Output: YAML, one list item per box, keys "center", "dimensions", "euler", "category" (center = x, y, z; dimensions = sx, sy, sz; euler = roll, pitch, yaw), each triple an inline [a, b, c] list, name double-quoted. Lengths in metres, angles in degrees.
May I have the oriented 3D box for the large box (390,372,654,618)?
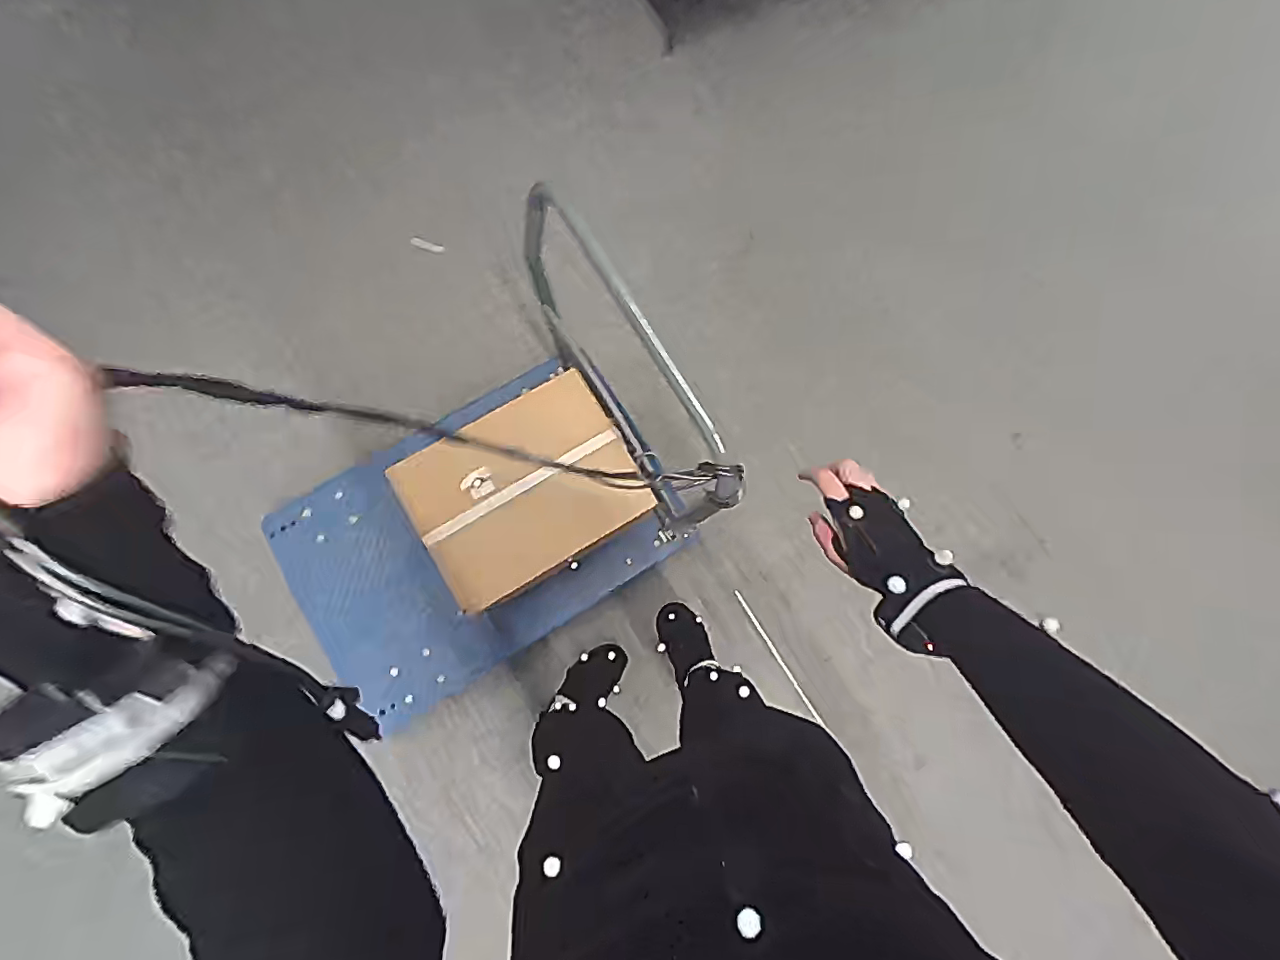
- center: [-0.225, 0.038, 1.149]
  dimensions: [0.408, 0.320, 0.320]
  euler: [-30, 84, -7]
  category: "large box"
